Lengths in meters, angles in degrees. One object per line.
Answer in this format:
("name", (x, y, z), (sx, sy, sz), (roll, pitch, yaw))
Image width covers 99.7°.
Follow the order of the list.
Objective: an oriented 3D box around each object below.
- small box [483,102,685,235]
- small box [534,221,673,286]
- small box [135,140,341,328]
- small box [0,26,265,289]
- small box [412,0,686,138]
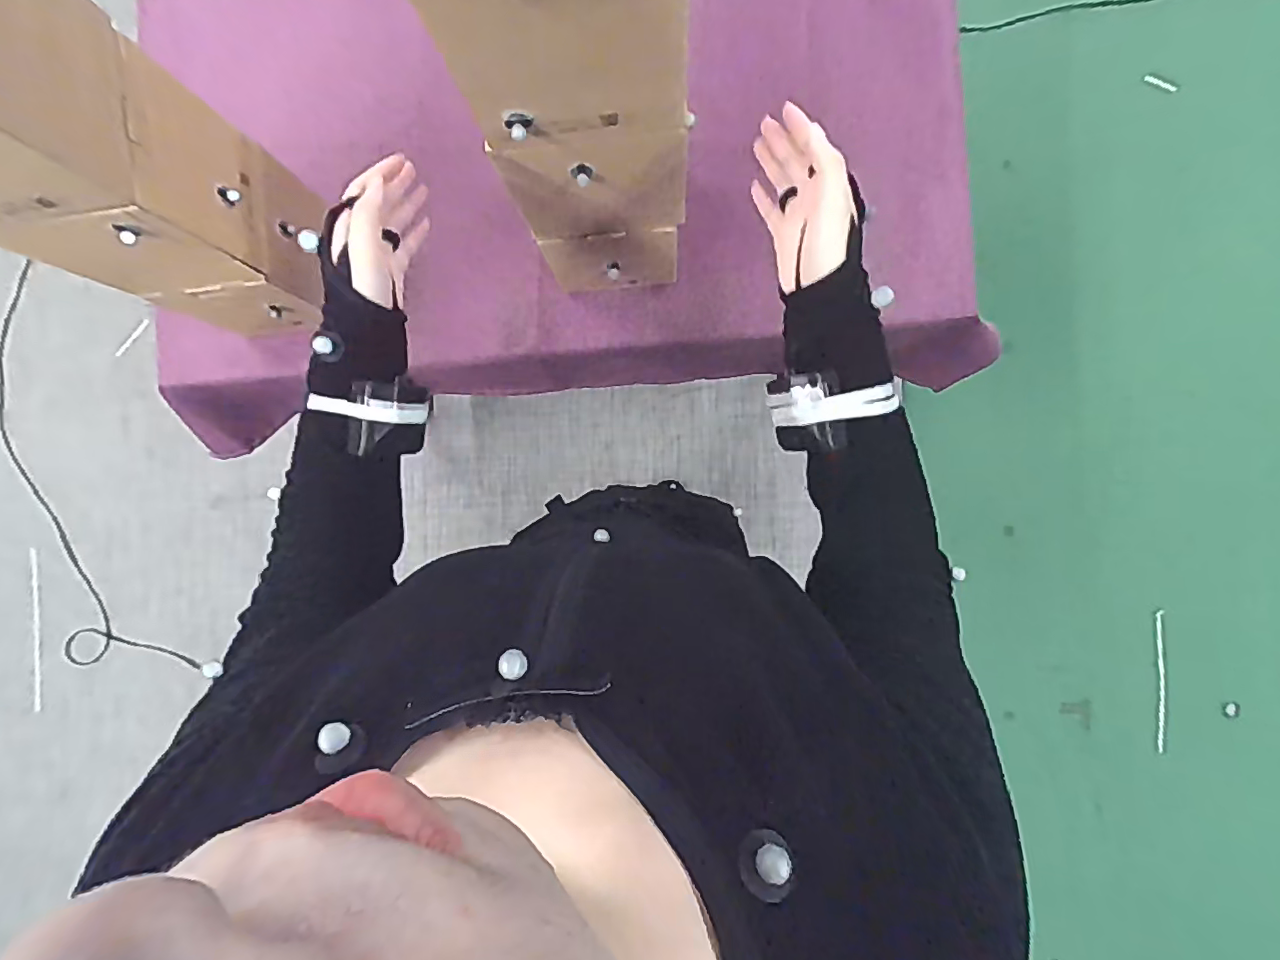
("small box", (-0.048, -0.364, 0.541), (0.179, 0.176, 0.168), (-4, 90, 3))
("small box", (-0.043, -0.364, 0.706), (0.168, 0.176, 0.179), (-4, 90, 2))
("small box", (-0.529, -0.313, 0.728), (0.168, 0.176, 0.179), (-5, 89, 2))
("small box", (-0.541, -0.316, 0.566), (0.179, 0.176, 0.168), (-7, 89, 1))
("small box", (-0.055, -0.371, 0.376), (0.168, 0.176, 0.179), (-5, 88, 3))
